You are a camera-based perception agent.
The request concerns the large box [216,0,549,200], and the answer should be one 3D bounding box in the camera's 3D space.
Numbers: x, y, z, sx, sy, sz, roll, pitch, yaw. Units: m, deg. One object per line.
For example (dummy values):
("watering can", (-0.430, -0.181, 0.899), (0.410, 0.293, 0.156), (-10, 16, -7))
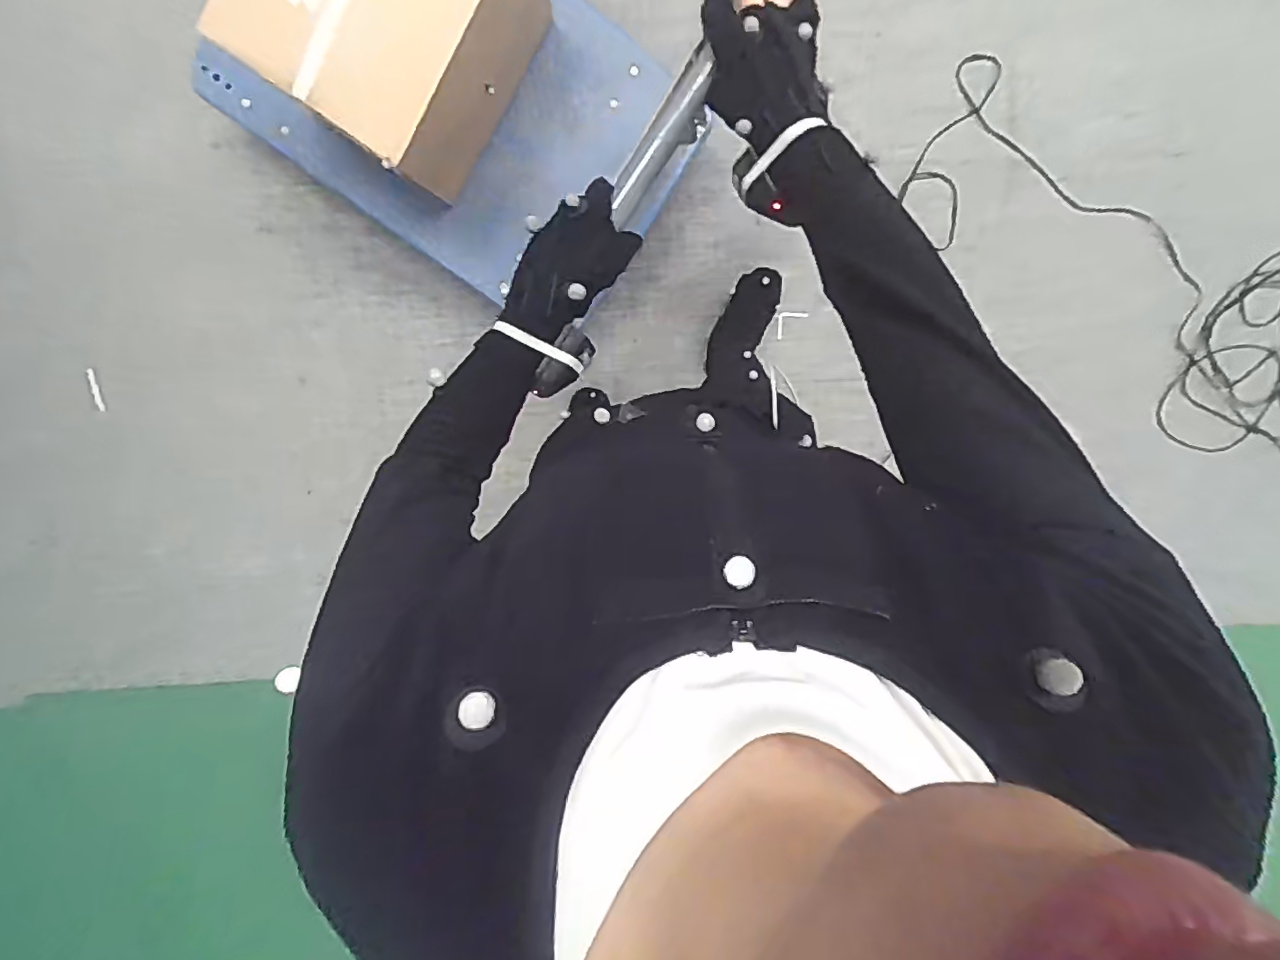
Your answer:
("large box", (-0.390, -0.767, 0.907), (0.320, 0.320, 0.408), (31, 103, -11))
